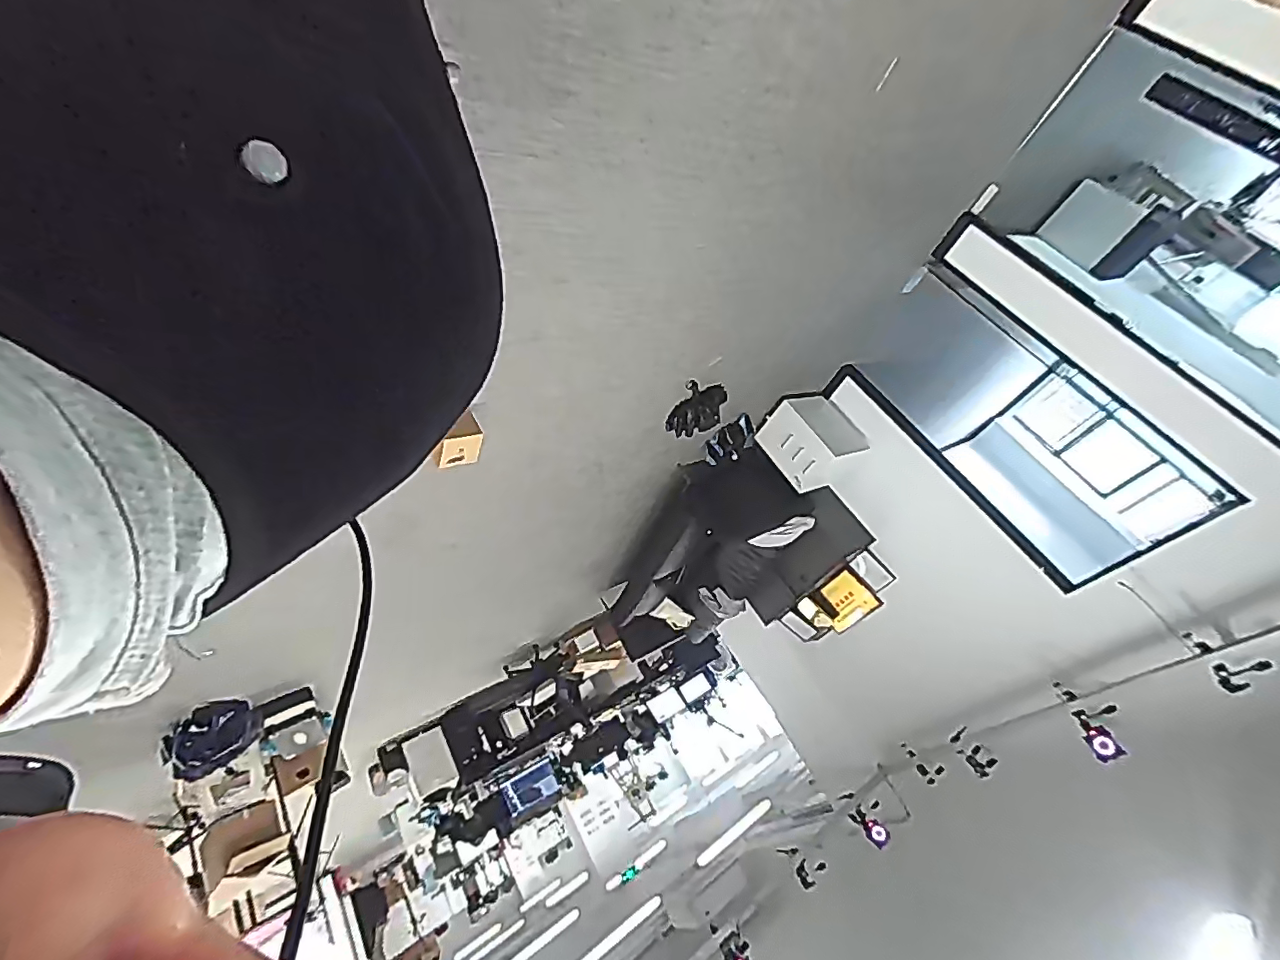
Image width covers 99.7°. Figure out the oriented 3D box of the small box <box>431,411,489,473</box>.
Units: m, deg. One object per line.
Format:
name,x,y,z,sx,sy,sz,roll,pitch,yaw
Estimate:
small box,-0.746,-0.158,2.225,0.168,0.176,0.179,-15,148,-37
